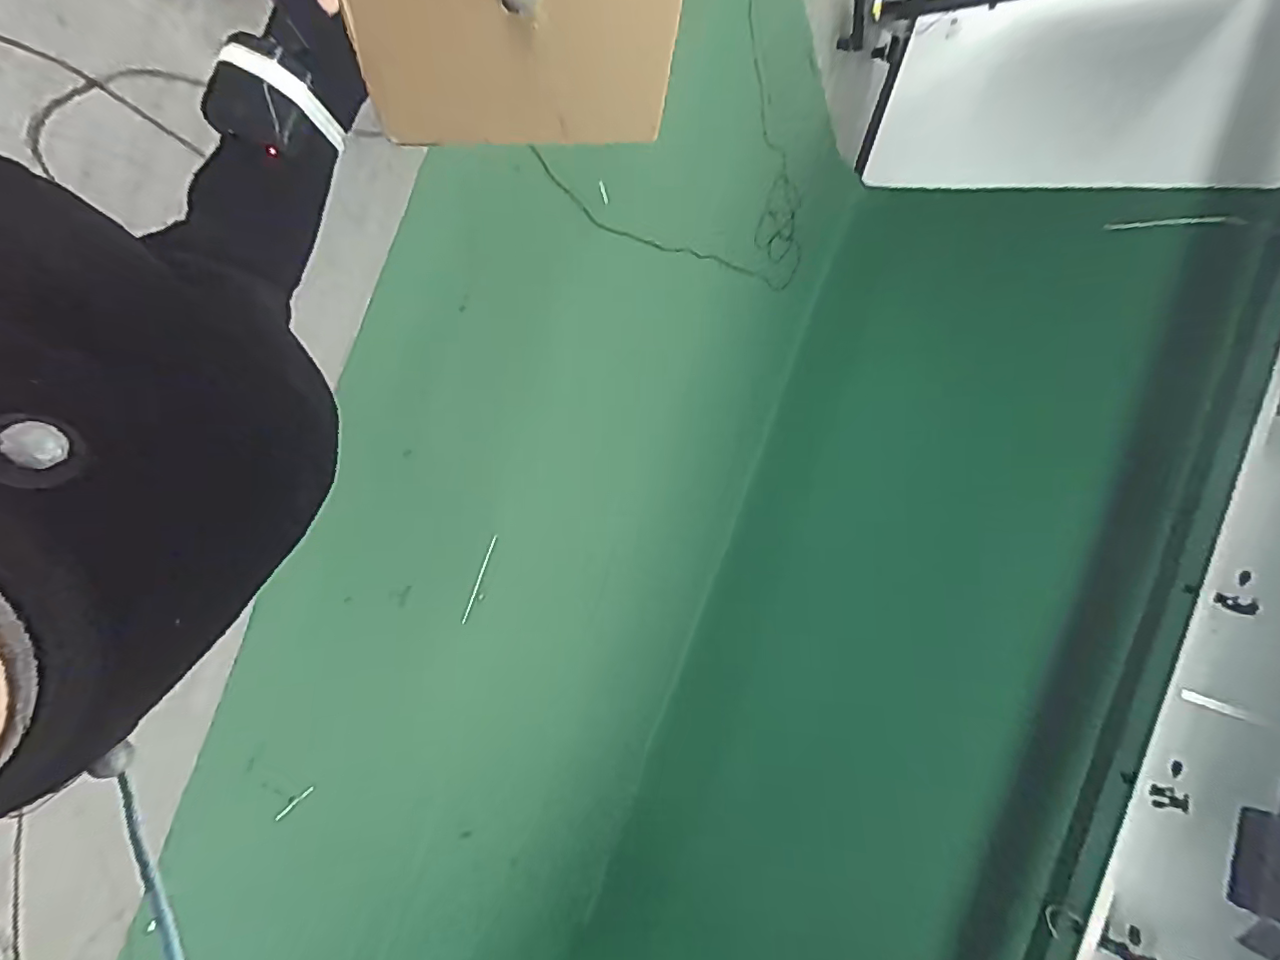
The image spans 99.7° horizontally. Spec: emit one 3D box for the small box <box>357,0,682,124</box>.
[{"bbox_3d":[-0.068,-0.320,0.270,0.176,0.168,0.179,114,-32,-70],"label":"small box"}]
